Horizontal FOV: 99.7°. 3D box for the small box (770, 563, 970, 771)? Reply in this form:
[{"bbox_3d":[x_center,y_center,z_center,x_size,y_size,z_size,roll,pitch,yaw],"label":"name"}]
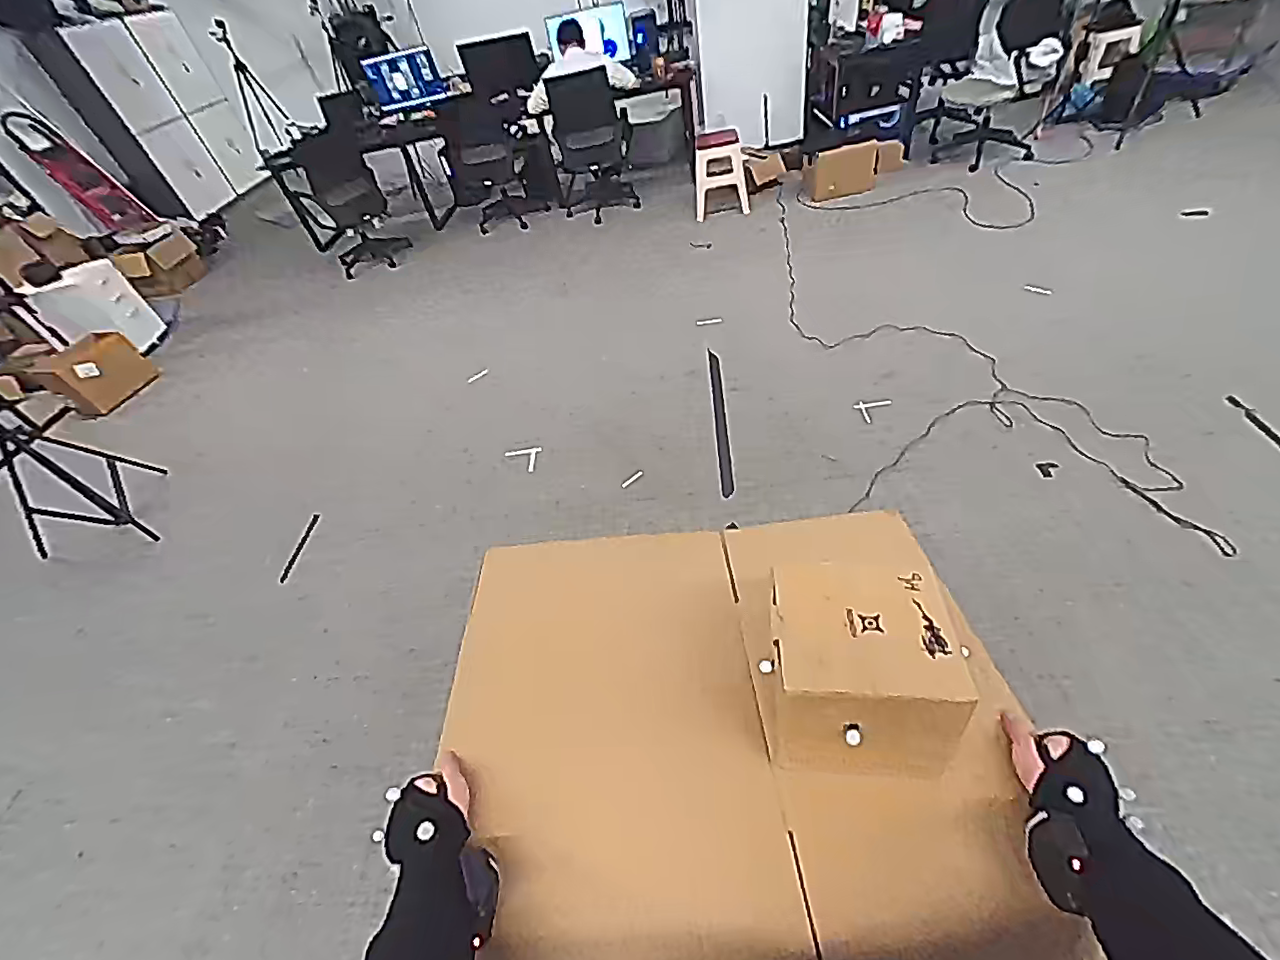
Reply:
[{"bbox_3d":[0.245,0.213,0.622,0.179,0.176,0.168,-2,40,11],"label":"small box"}]
